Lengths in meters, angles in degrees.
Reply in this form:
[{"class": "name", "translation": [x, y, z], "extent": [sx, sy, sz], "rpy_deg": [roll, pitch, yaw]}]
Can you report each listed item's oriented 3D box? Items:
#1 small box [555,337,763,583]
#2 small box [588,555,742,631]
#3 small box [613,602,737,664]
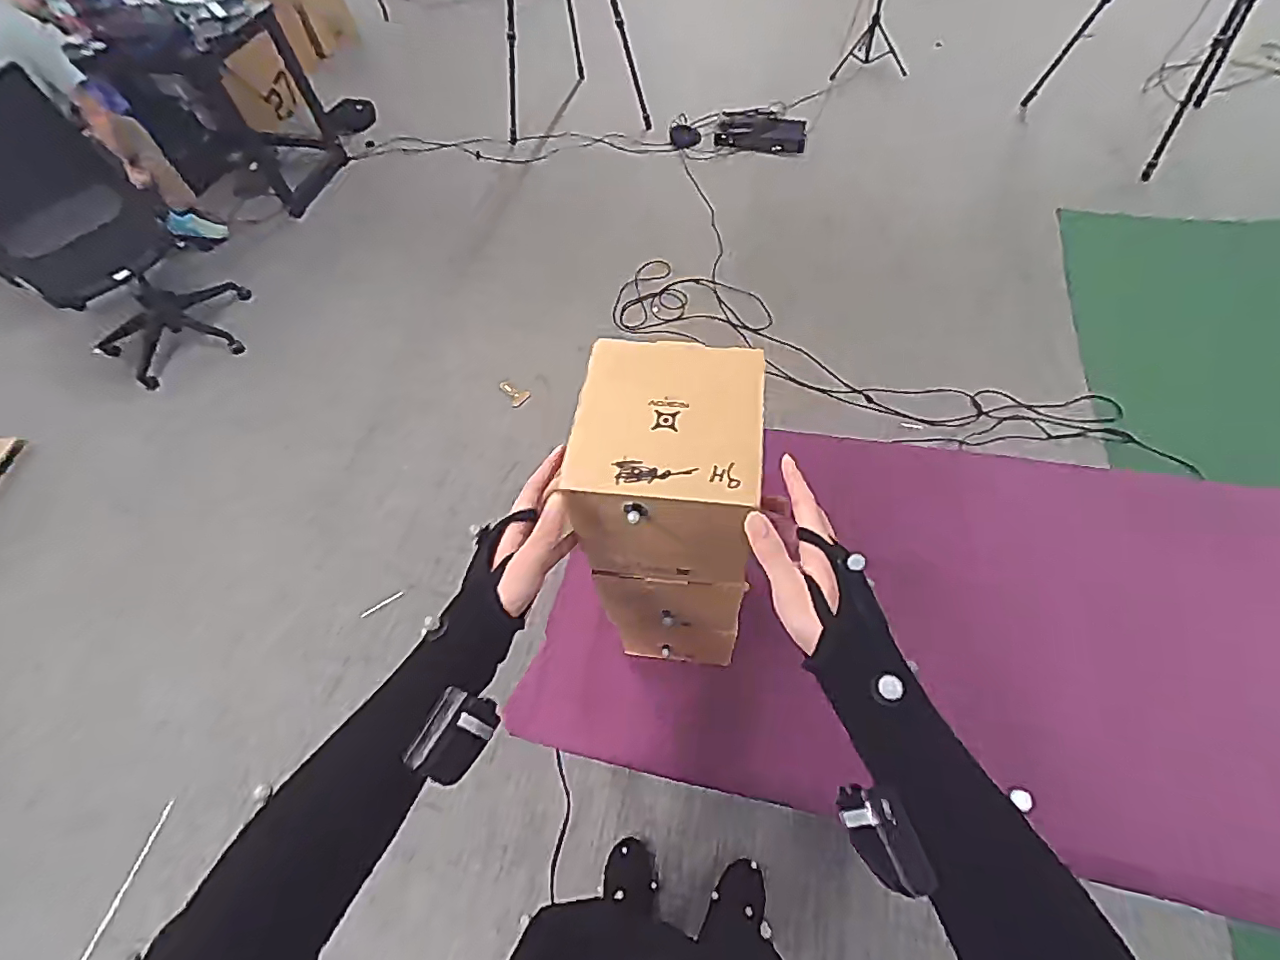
[{"class": "small box", "translation": [0.028, -0.017, 0.541], "extent": [0.168, 0.176, 0.179], "rpy_deg": [5, 57, 9]}, {"class": "small box", "translation": [0.039, 0.073, 0.678], "extent": [0.168, 0.176, 0.179], "rpy_deg": [3, 58, 7]}, {"class": "small box", "translation": [0.058, 0.161, 0.816], "extent": [0.168, 0.176, 0.179], "rpy_deg": [4, 59, 7]}]
